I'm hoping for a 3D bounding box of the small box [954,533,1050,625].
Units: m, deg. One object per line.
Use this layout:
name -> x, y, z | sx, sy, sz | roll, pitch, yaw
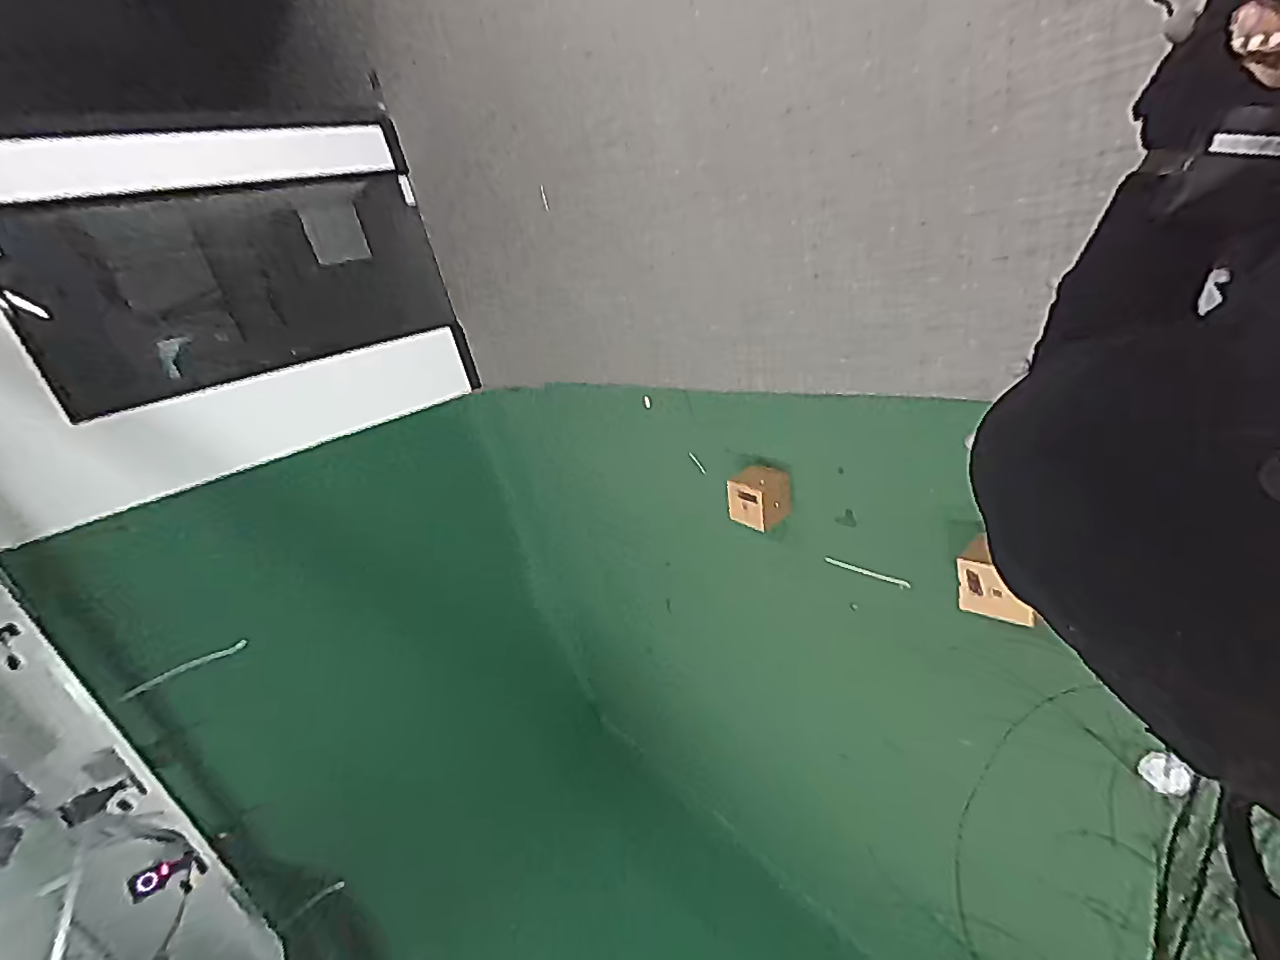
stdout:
small box -> 0.982, 0.260, 1.469 | 0.179, 0.176, 0.168 | 10, 121, 49
